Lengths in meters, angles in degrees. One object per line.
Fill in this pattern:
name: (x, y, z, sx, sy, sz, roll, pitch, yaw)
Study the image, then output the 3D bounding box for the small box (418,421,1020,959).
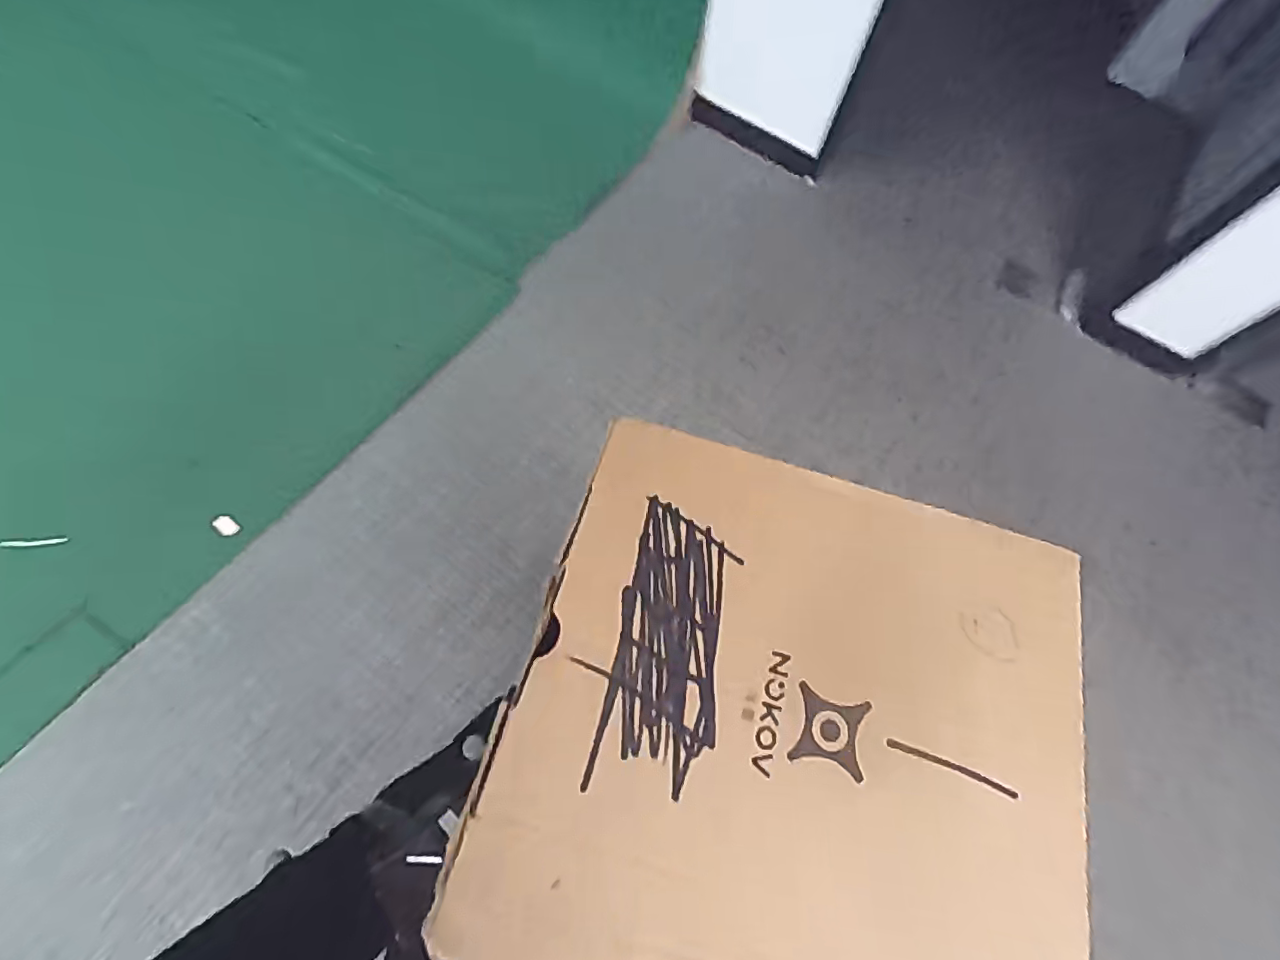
small box: (0.033, 0.101, 0.255, 0.179, 0.176, 0.168, 17, 69, 1)
